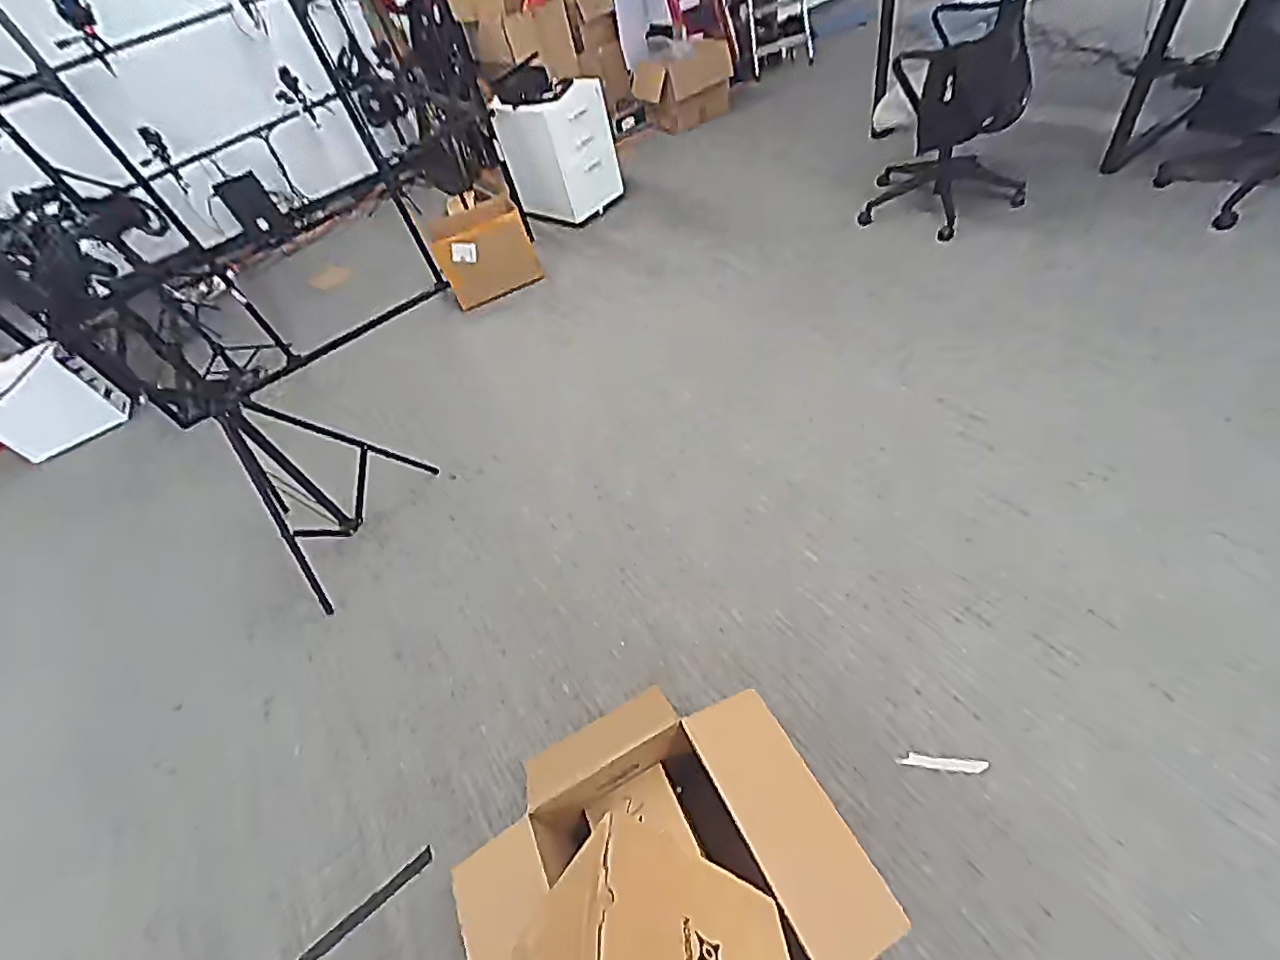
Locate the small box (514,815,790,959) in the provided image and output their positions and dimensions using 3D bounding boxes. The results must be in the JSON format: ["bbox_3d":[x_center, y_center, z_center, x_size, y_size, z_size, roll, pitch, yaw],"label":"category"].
[{"bbox_3d":[0.005,0.410,0.401,0.179,0.168,0.176,32,98,-5],"label":"small box"}]
